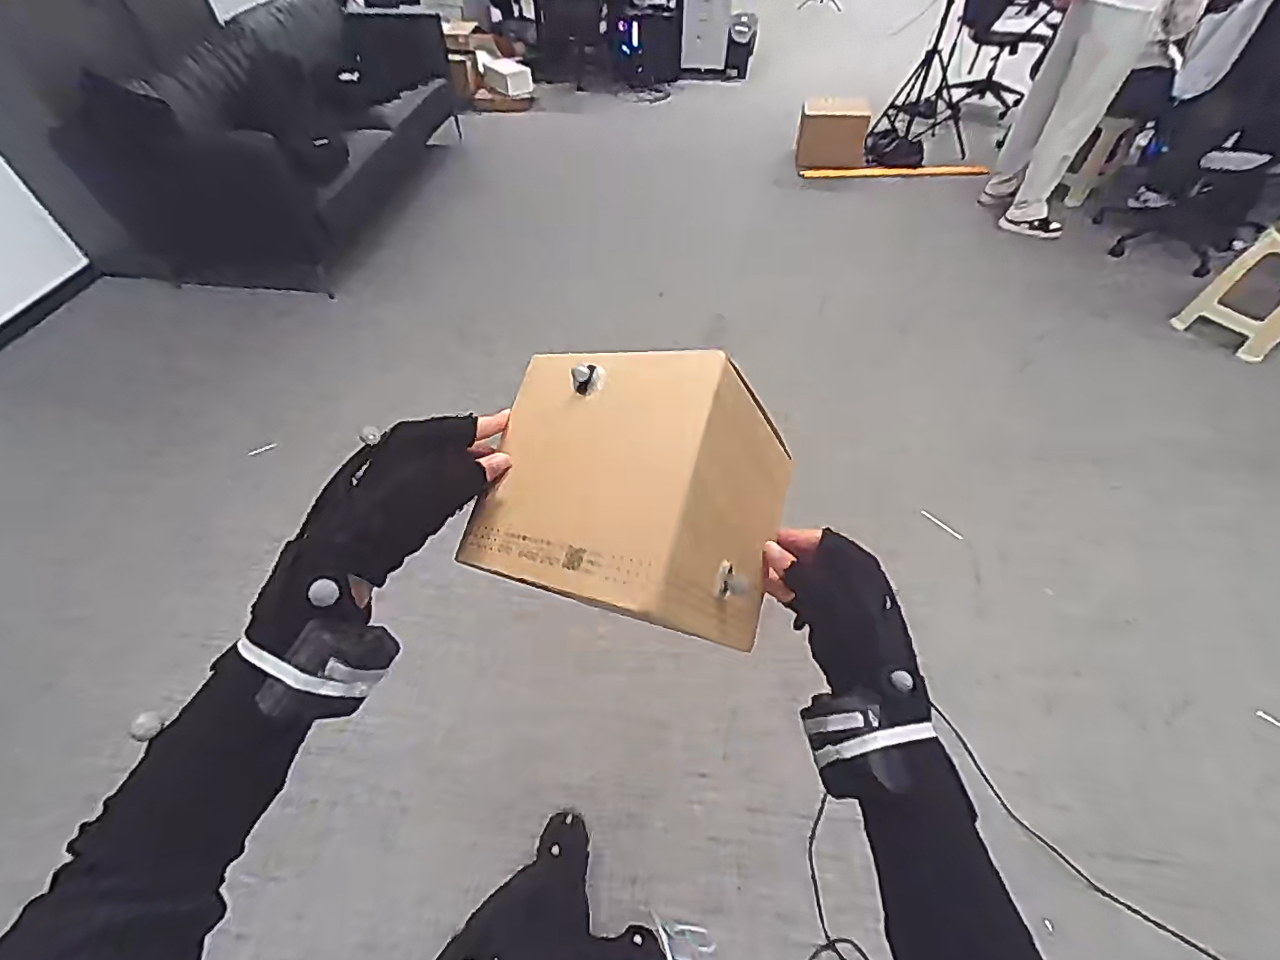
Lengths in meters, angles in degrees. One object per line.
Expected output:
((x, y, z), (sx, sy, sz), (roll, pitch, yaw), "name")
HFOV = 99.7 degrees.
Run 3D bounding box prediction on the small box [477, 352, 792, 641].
((0.004, 0.021, 0.432), (0.168, 0.179, 0.176), (5, 69, 34), "small box")
